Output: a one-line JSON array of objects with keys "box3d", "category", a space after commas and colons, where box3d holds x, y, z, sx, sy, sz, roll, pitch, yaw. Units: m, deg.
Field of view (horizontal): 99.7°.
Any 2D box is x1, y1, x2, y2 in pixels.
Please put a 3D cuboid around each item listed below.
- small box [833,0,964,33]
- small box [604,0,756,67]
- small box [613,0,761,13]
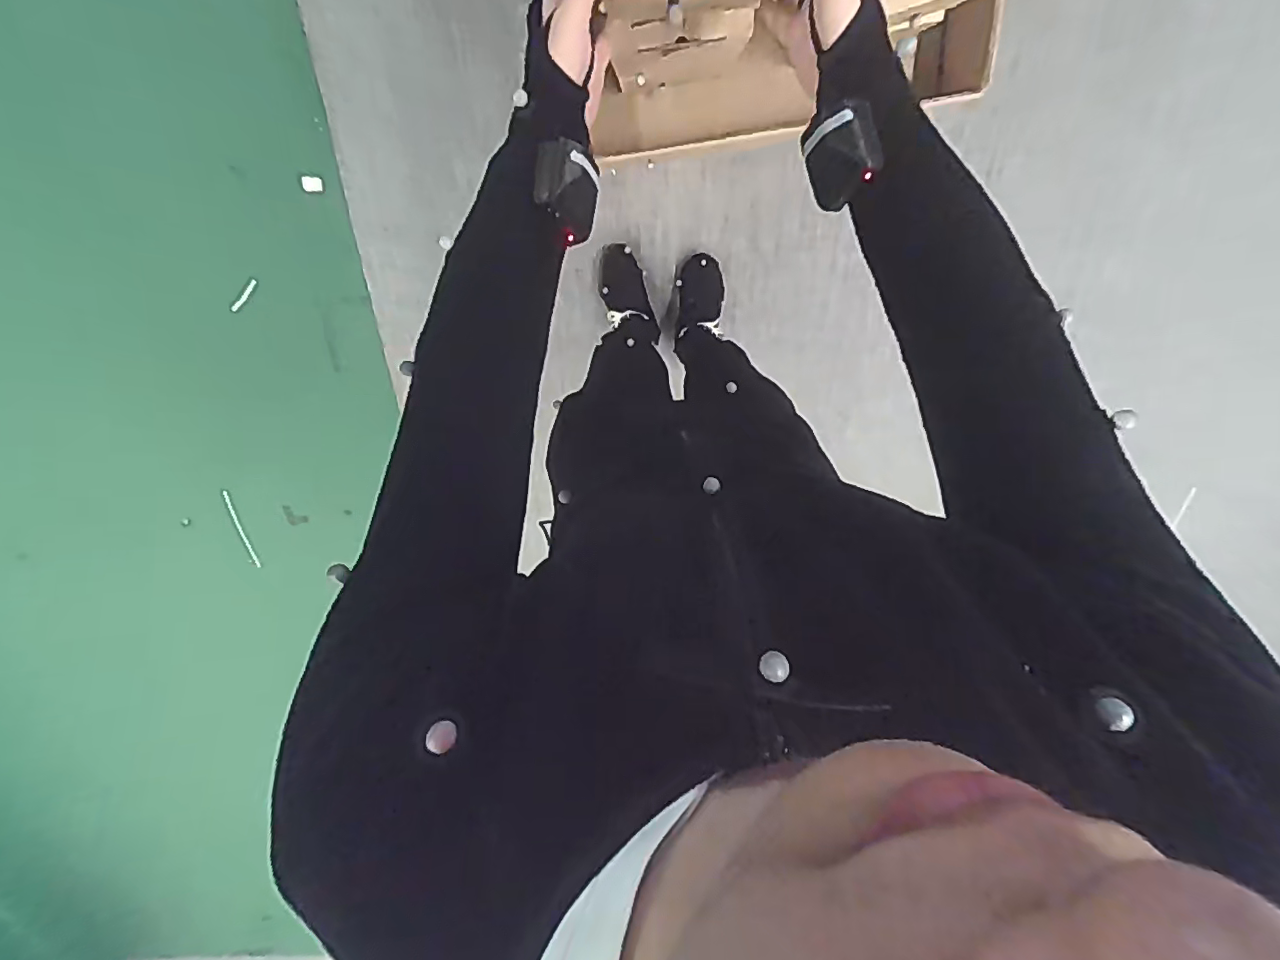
[{"box3d": [0.318, -0.633, 0.602, 0.168, 0.176, 0.179, -13, 120, 7], "category": "small box"}, {"box3d": [0.040, -0.599, 0.624, 0.168, 0.176, 0.179, -5, 119, 4], "category": "small box"}, {"box3d": [0.046, -0.493, 0.423, 0.168, 0.176, 0.179, -4, 123, 4], "category": "small box"}]
